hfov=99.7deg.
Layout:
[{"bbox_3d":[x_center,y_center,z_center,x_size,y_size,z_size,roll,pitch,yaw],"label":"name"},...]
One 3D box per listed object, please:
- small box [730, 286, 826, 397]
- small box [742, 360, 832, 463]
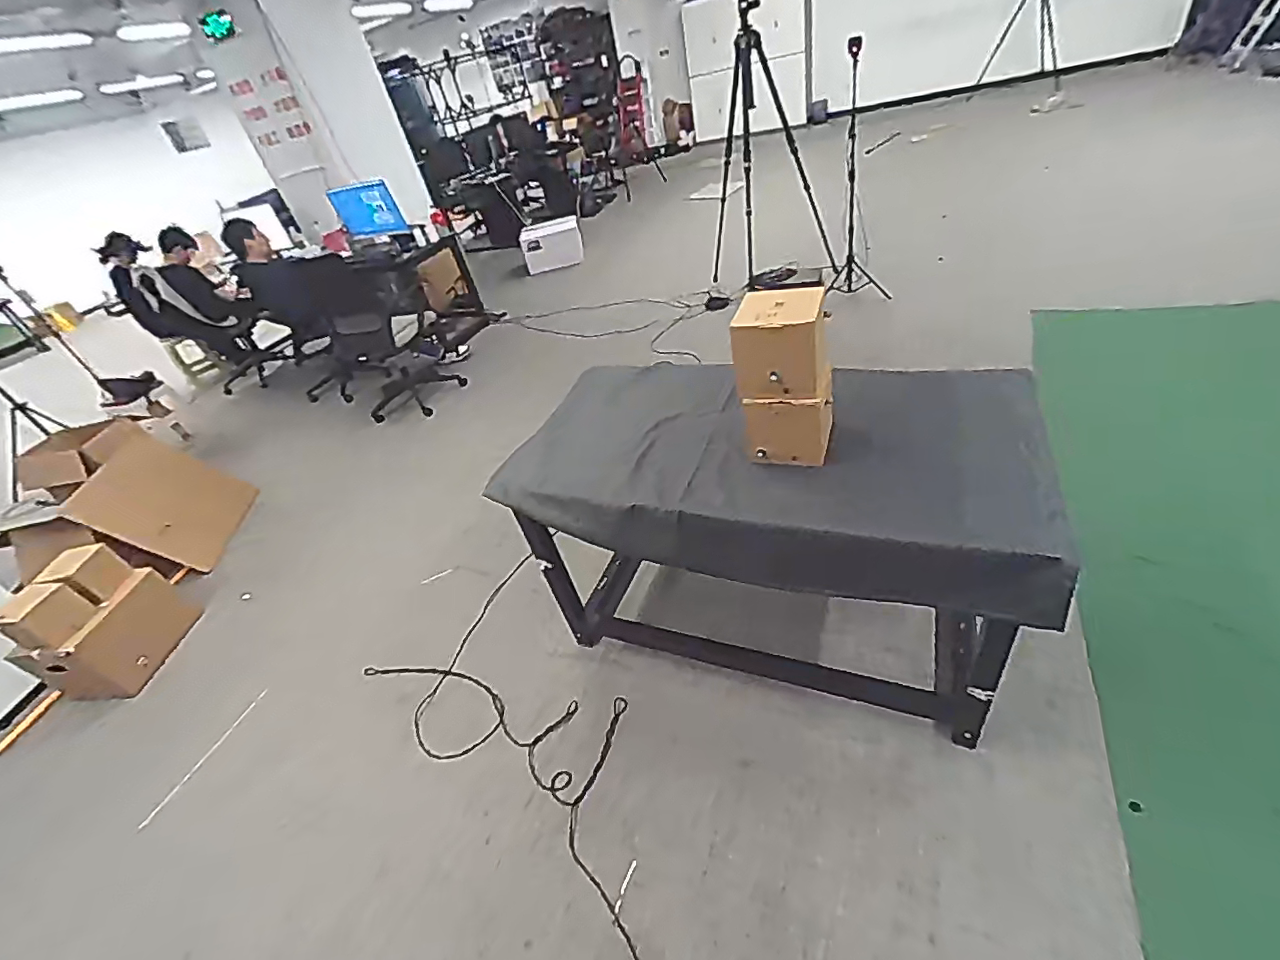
[{"bbox_3d":[0.298,-0.290,1.140,0.168,0.176,0.179,3,42,24],"label":"small box"},{"bbox_3d":[0.340,-0.154,1.225,0.168,0.176,0.179,5,41,25],"label":"small box"}]
